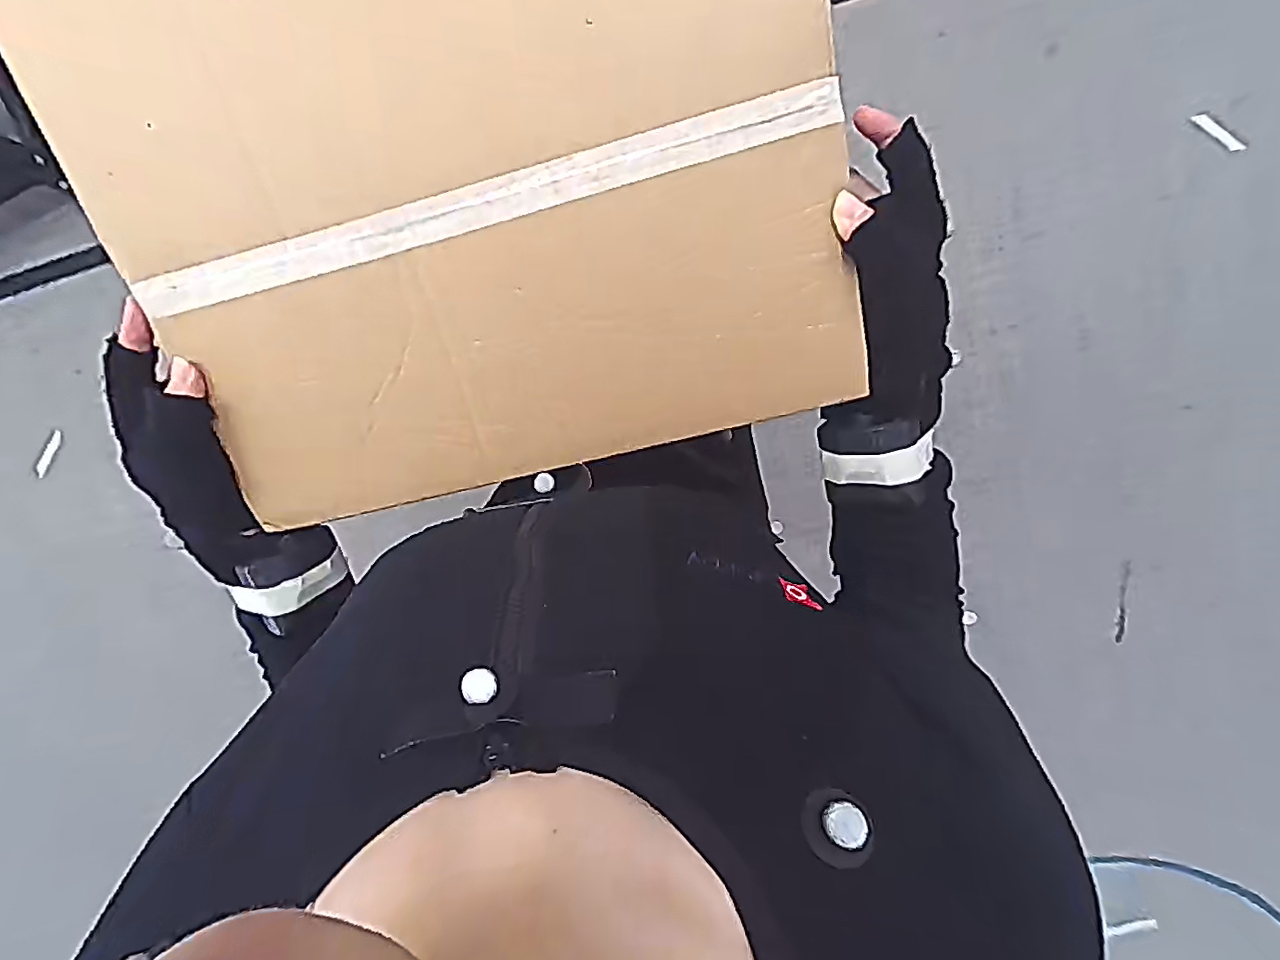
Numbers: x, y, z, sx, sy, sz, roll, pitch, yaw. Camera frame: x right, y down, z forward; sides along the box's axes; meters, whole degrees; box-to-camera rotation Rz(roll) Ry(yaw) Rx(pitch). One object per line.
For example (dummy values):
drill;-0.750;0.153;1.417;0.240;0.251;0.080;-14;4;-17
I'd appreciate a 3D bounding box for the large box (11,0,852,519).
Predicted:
large box;-0.091;-0.209;0.445;0.408;0.320;0.320;-13;110;6
